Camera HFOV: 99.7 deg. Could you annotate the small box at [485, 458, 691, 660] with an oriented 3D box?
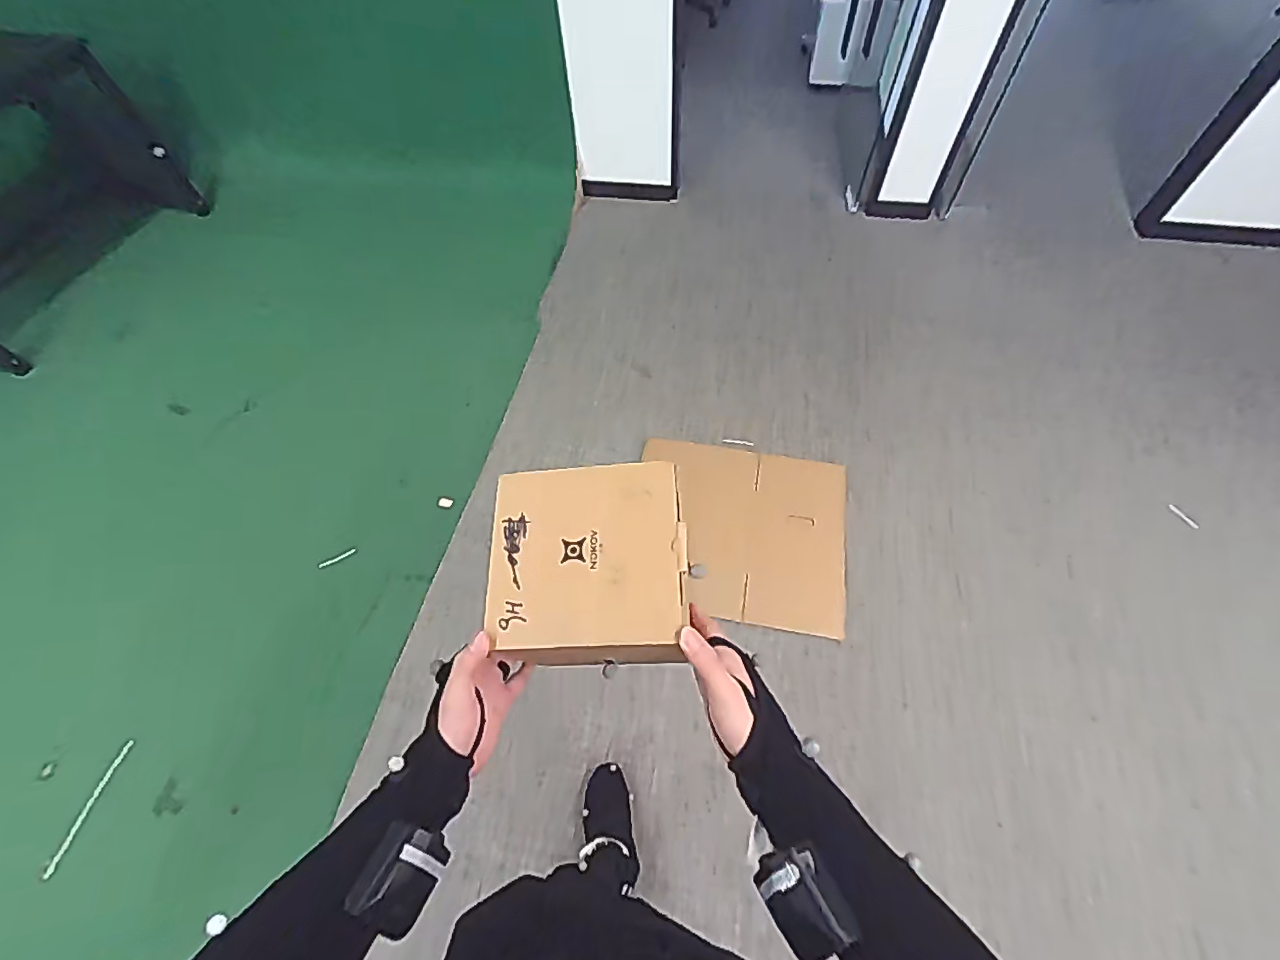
[{"bbox_3d":[-0.038,0.090,0.557,0.179,0.176,0.168,-4,65,6],"label":"small box"}]
